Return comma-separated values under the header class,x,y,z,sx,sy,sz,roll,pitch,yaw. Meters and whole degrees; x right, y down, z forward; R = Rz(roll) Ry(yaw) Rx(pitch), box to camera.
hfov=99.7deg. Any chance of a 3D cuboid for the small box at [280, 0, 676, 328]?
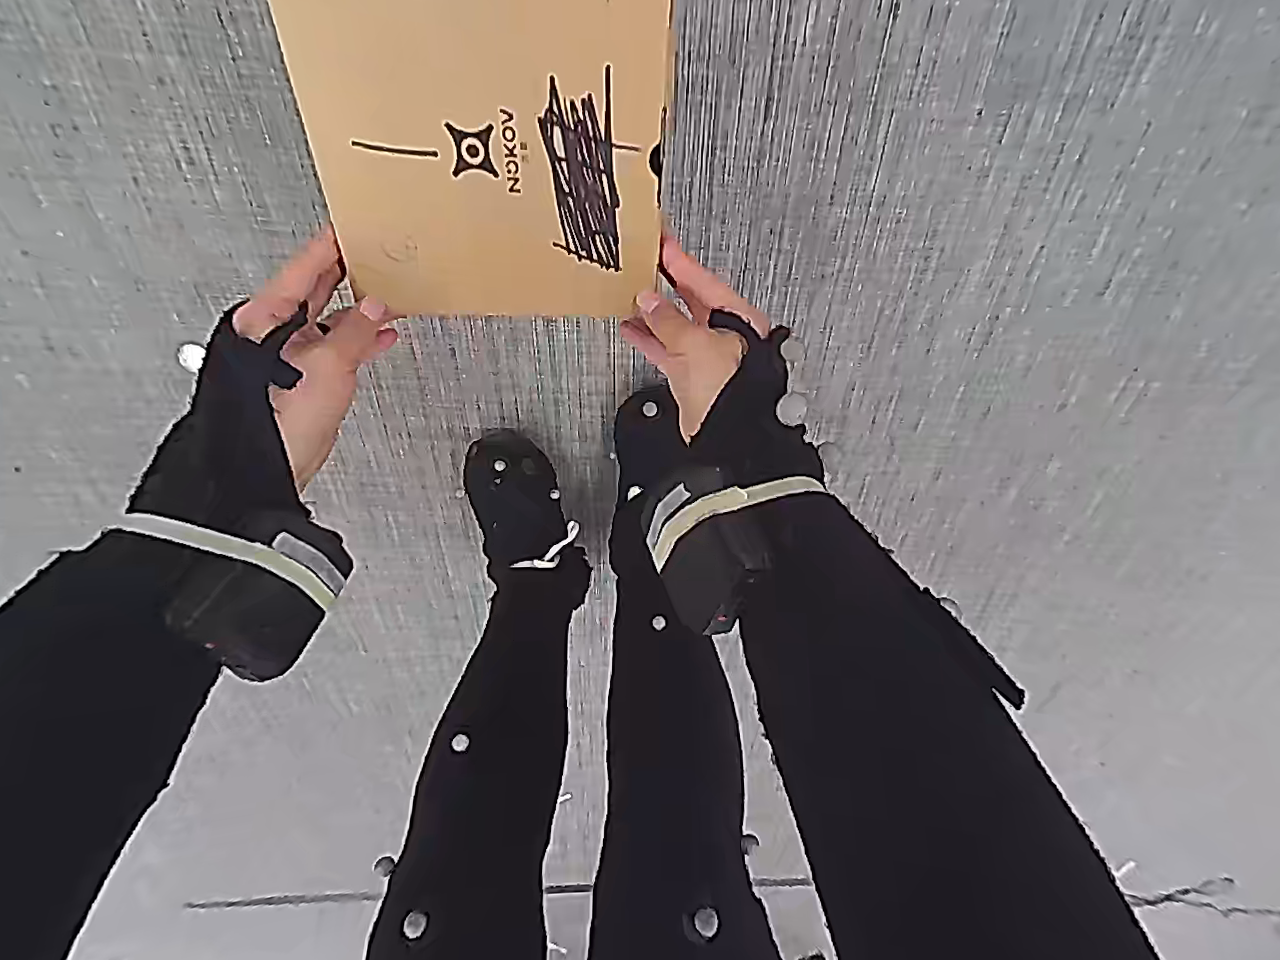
class,x,y,z,sx,sy,sz,roll,pitch,yaw
small box,-0.078,-0.209,0.344,0.179,0.176,0.168,0,128,-3
